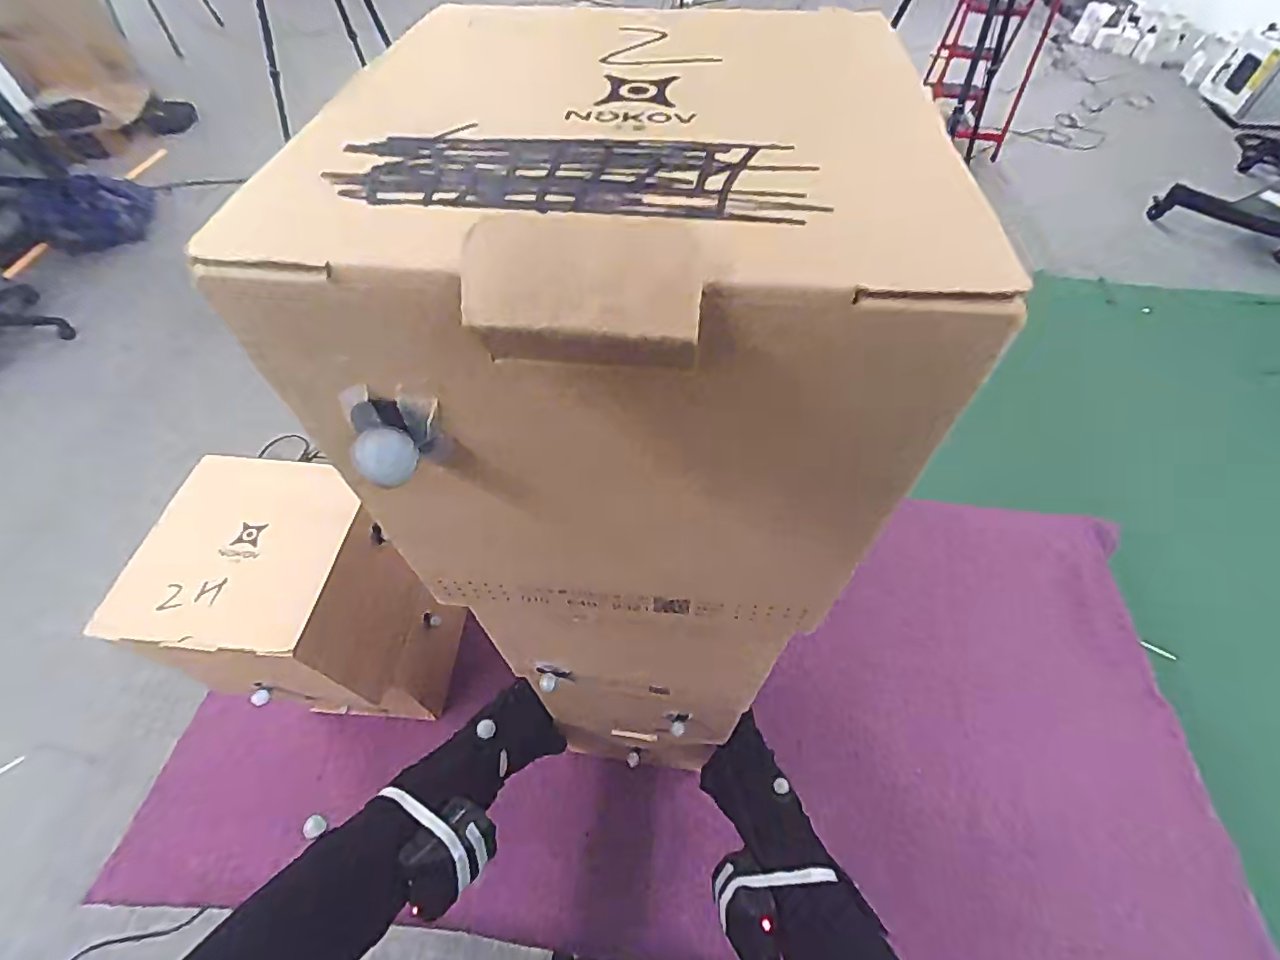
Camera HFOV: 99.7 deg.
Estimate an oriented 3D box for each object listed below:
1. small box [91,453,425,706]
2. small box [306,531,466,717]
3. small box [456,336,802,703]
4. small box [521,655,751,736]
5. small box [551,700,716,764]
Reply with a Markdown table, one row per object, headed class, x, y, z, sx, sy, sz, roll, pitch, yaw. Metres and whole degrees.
| class | x | y | z | sx | sy | sz | roll | pitch | yaw |
| --- | --- | --- | --- | --- | --- | --- | --- | --- | --- |
| small box | -0.325 | 0.098 | 0.513 | 0.168 | 0.176 | 0.179 | 4 | 56 | 2 |
| small box | -0.325 | 0.174 | 0.660 | 0.168 | 0.176 | 0.179 | 3 | 55 | 1 |
| small box | 0.006 | 0.032 | 0.358 | 0.168 | 0.176 | 0.179 | 7 | 54 | 5 |
| small box | 0.010 | 0.113 | 0.481 | 0.168 | 0.176 | 0.179 | 6 | 54 | 5 |
| small box | 0.005 | 0.219 | 0.630 | 0.168 | 0.176 | 0.179 | 3 | 54 | 5 |
